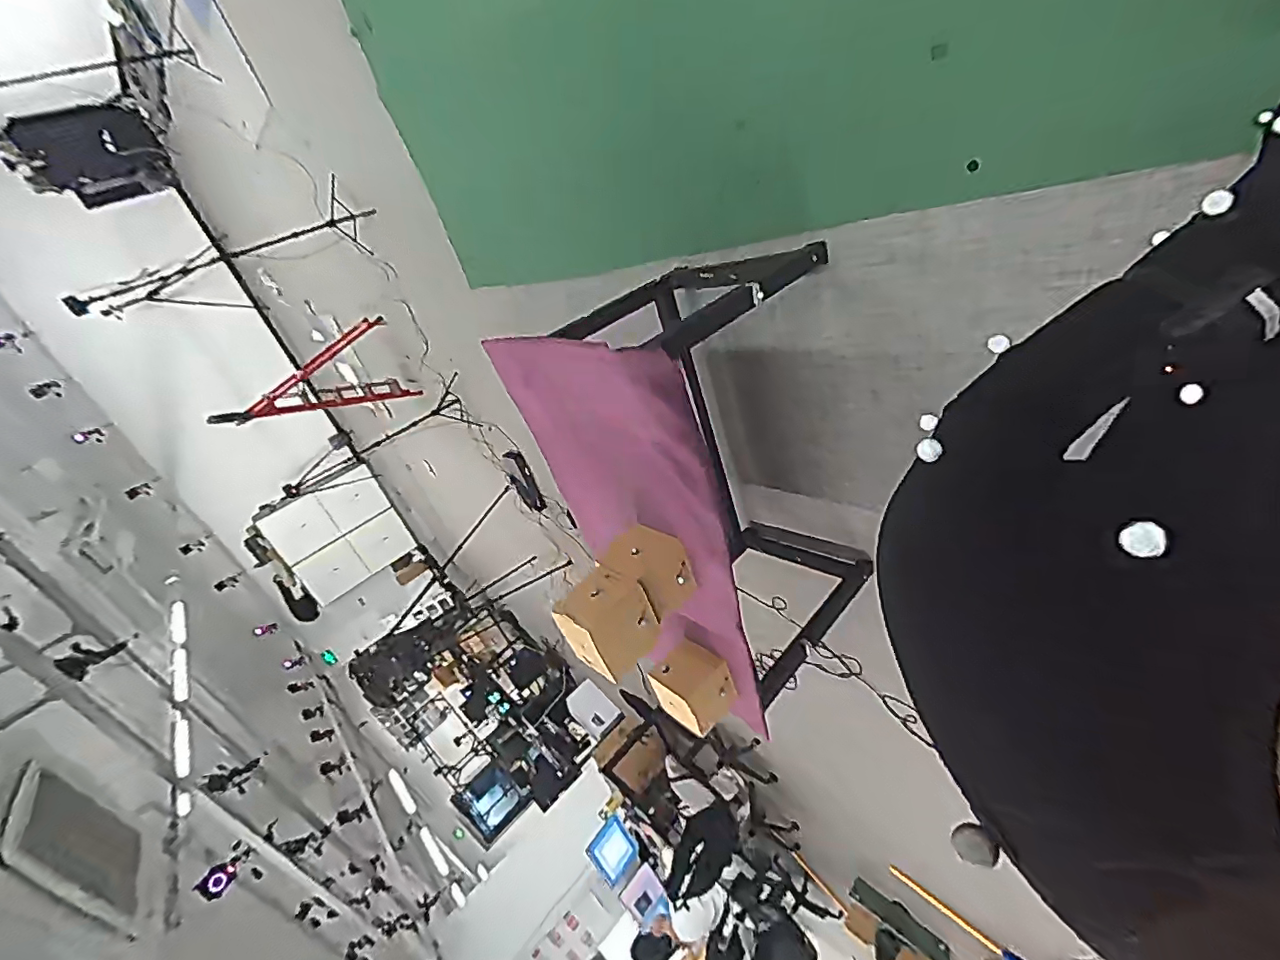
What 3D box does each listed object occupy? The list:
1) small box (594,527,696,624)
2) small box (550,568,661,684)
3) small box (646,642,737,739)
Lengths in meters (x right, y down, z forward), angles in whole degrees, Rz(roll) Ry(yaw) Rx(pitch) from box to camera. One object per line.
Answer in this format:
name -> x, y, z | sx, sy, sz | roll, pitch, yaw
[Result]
small box -> 0.016, 0.242, 1.390 | 0.179, 0.176, 0.168 | 16, 135, 47
small box -> -0.079, 0.340, 1.295 | 0.168, 0.176, 0.179 | 13, 132, 49
small box -> 0.153, 0.605, 1.585 | 0.179, 0.176, 0.168 | 15, 135, 50
